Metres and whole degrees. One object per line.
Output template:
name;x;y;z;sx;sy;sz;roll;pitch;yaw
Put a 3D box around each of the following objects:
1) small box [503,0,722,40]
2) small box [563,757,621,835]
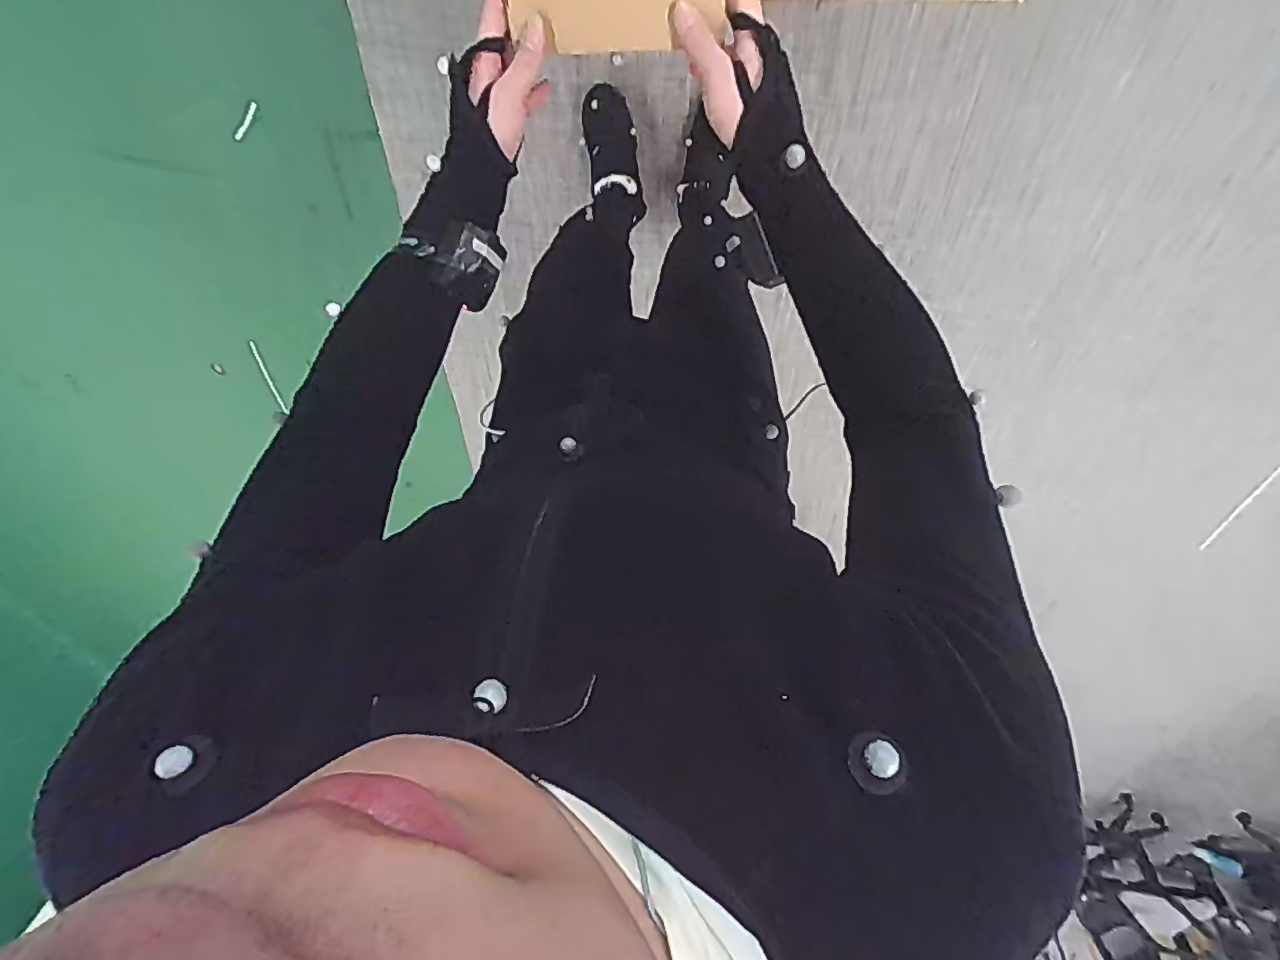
small box;-0.016;-0.471;0.436;0.179;0.176;0.168;2;137;5
small box;-0.156;1.058;1.812;0.168;0.176;0.179;6;132;4
